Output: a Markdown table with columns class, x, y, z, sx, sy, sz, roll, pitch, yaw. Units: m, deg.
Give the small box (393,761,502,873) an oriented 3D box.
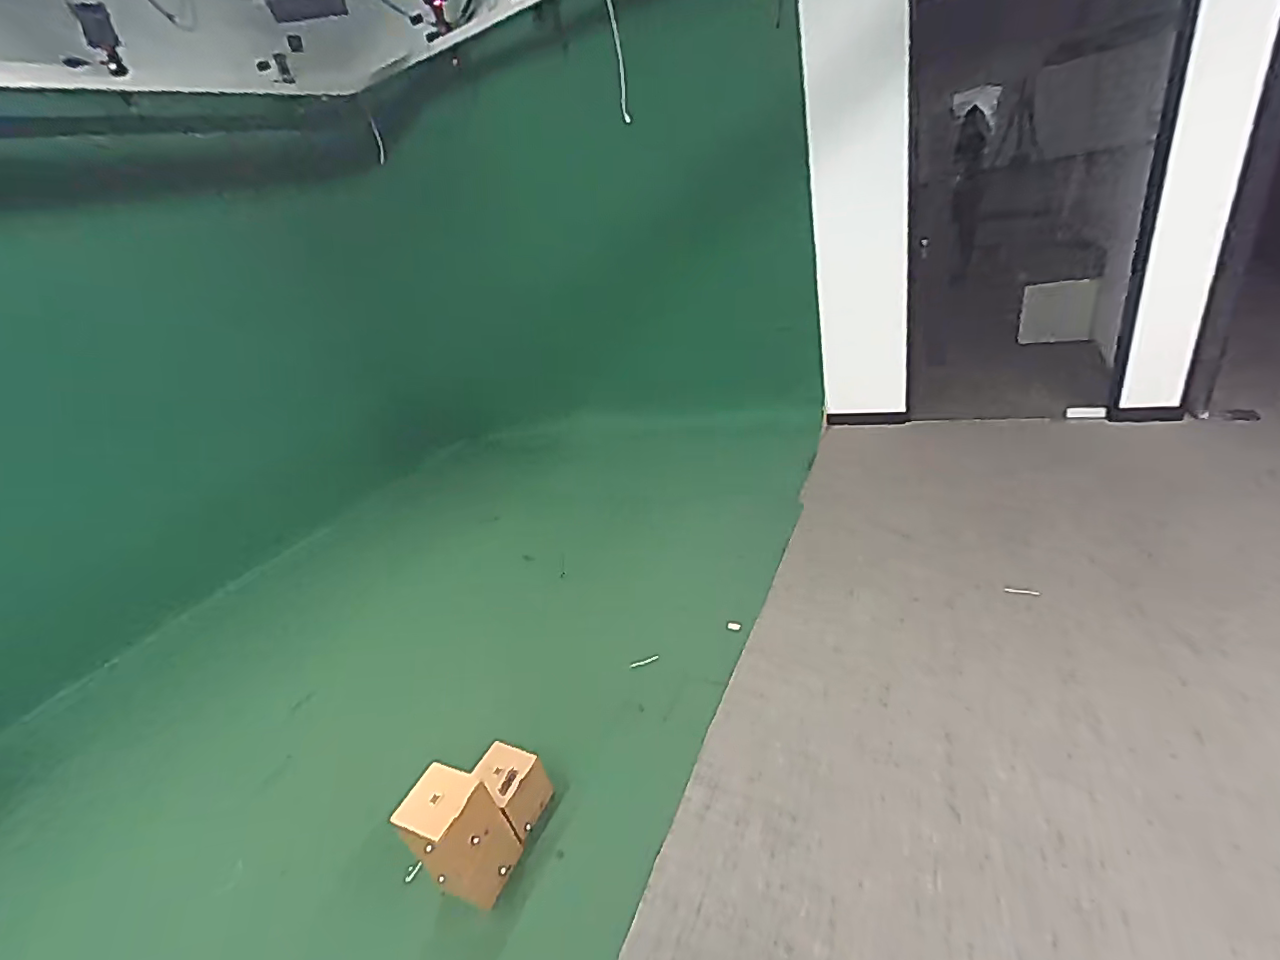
| class | x | y | z | sx | sy | sz | roll | pitch | yaw |
| --- | --- | --- | --- | --- | --- | --- | --- | --- | --- |
| small box | -0.496 | 0.879 | 1.412 | 0.179 | 0.176 | 0.168 | 1 | 31 | 27 |
